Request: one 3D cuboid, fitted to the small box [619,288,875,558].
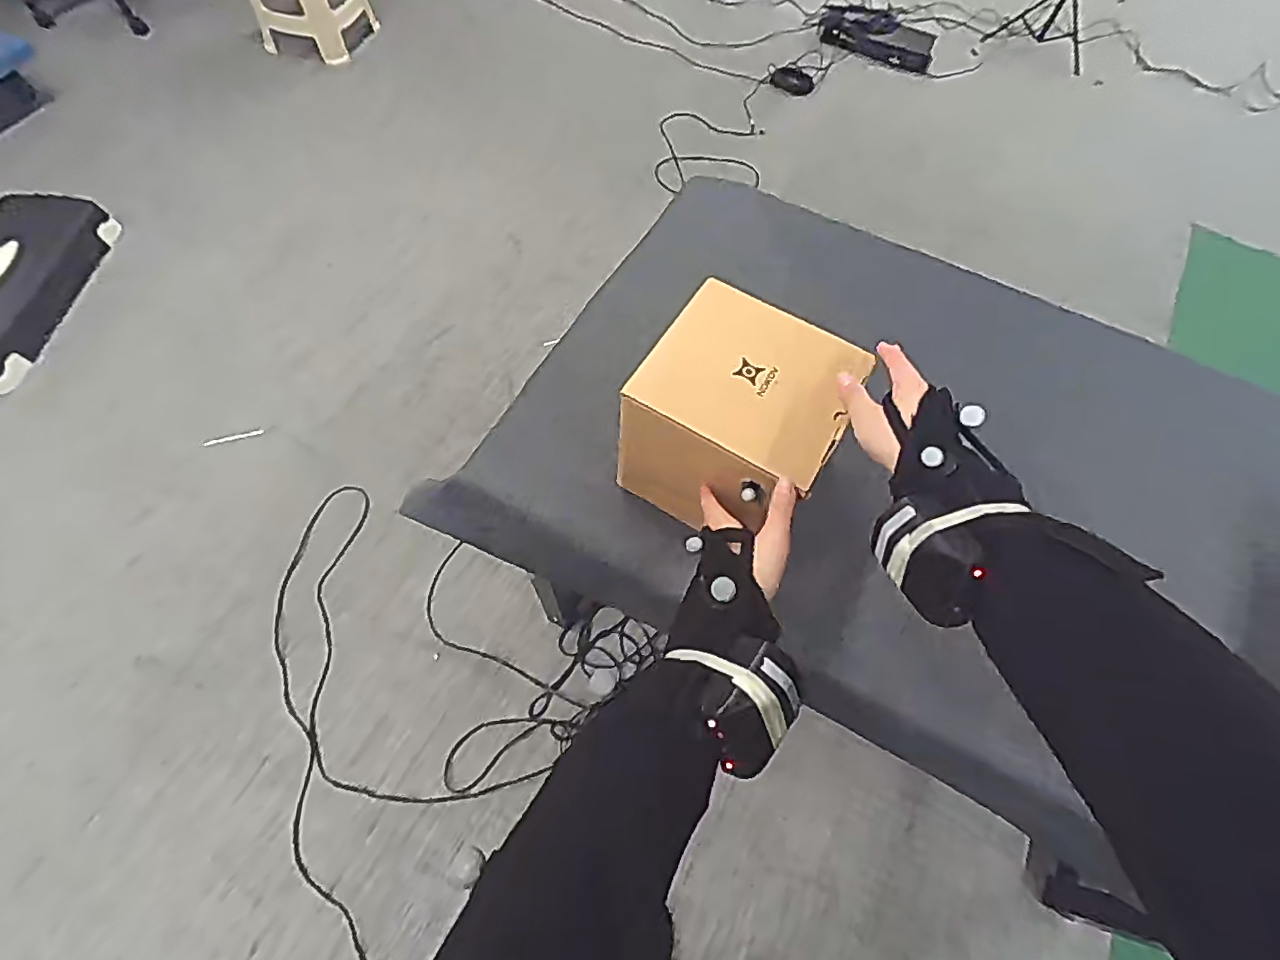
[{"bbox_3d":[0.091,-0.047,0.537,0.179,0.176,0.168,30,64,11],"label":"small box"}]
